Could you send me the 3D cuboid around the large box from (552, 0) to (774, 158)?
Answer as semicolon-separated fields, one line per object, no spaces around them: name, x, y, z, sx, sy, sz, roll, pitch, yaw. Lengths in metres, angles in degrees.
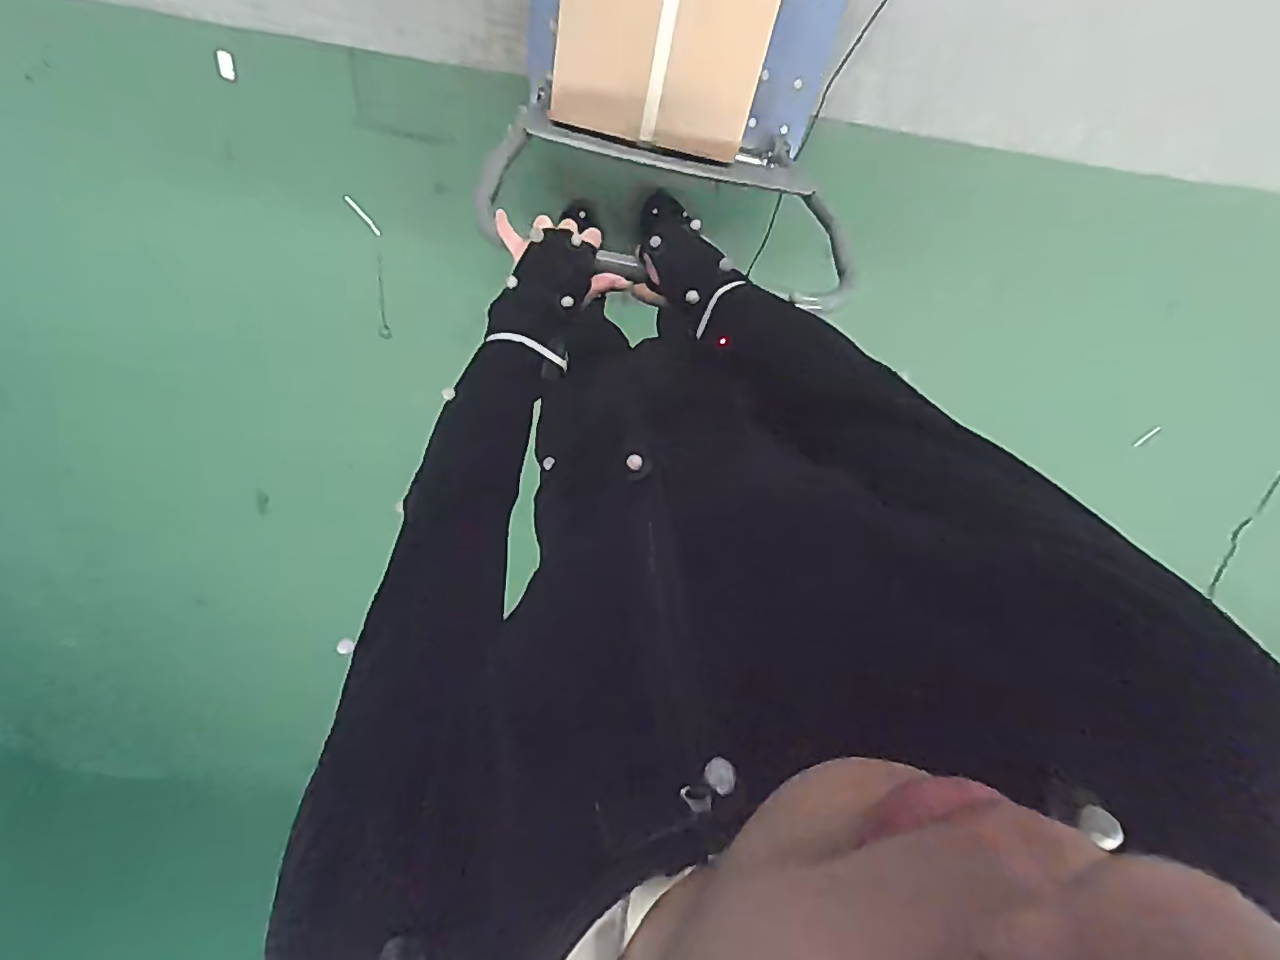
large box;0.046;-0.804;0.890;0.320;0.320;0.408;9;127;-7
